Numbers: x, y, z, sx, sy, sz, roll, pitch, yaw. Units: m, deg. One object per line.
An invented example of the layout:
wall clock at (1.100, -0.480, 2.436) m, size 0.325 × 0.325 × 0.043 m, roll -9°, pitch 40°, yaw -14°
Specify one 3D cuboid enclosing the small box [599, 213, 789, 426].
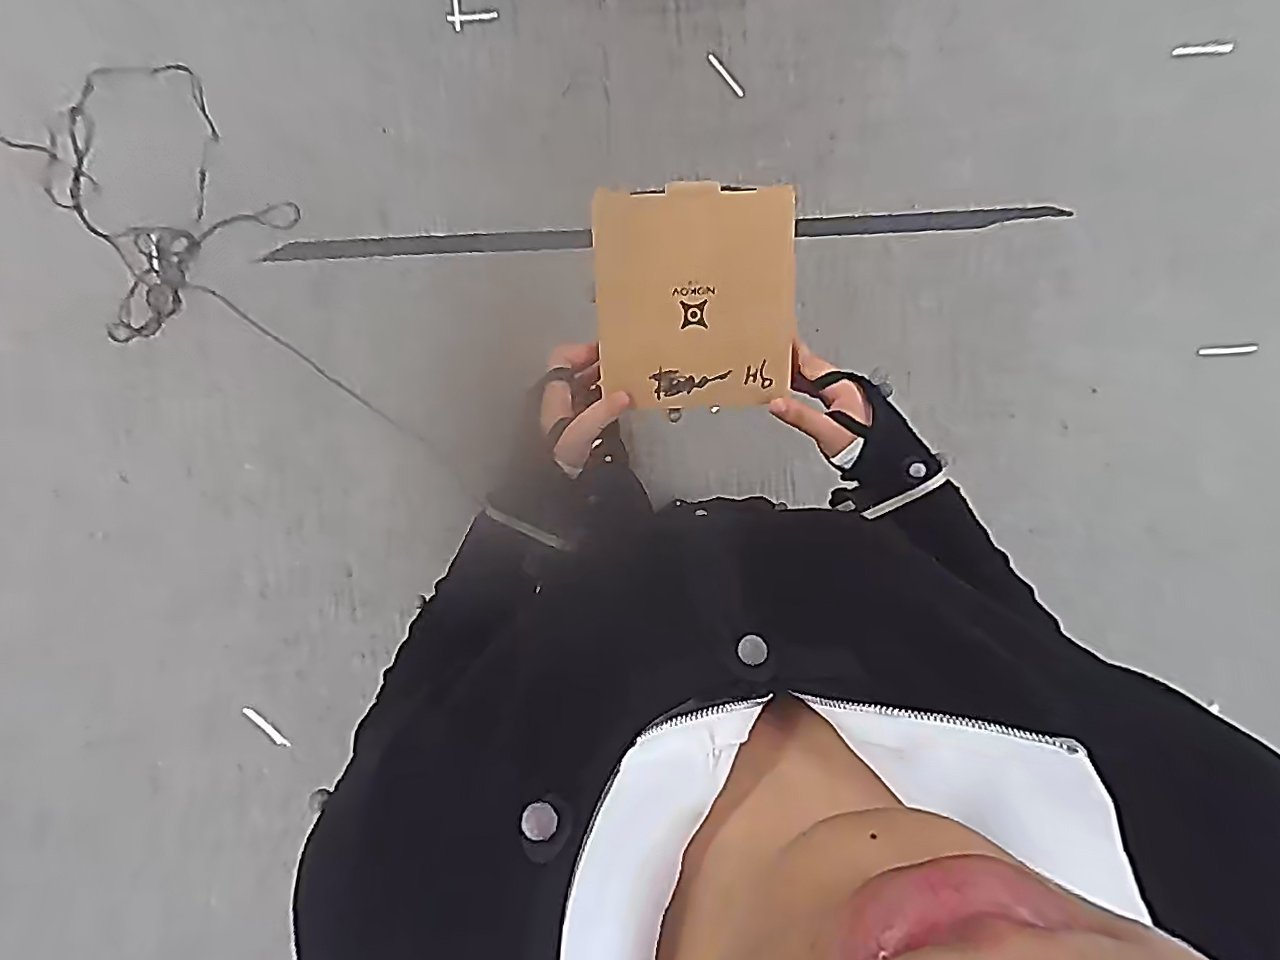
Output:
small box at (0.045, -0.153, 0.548) m, size 0.168 × 0.176 × 0.179 m, roll -3°, pitch 103°, yaw -1°
